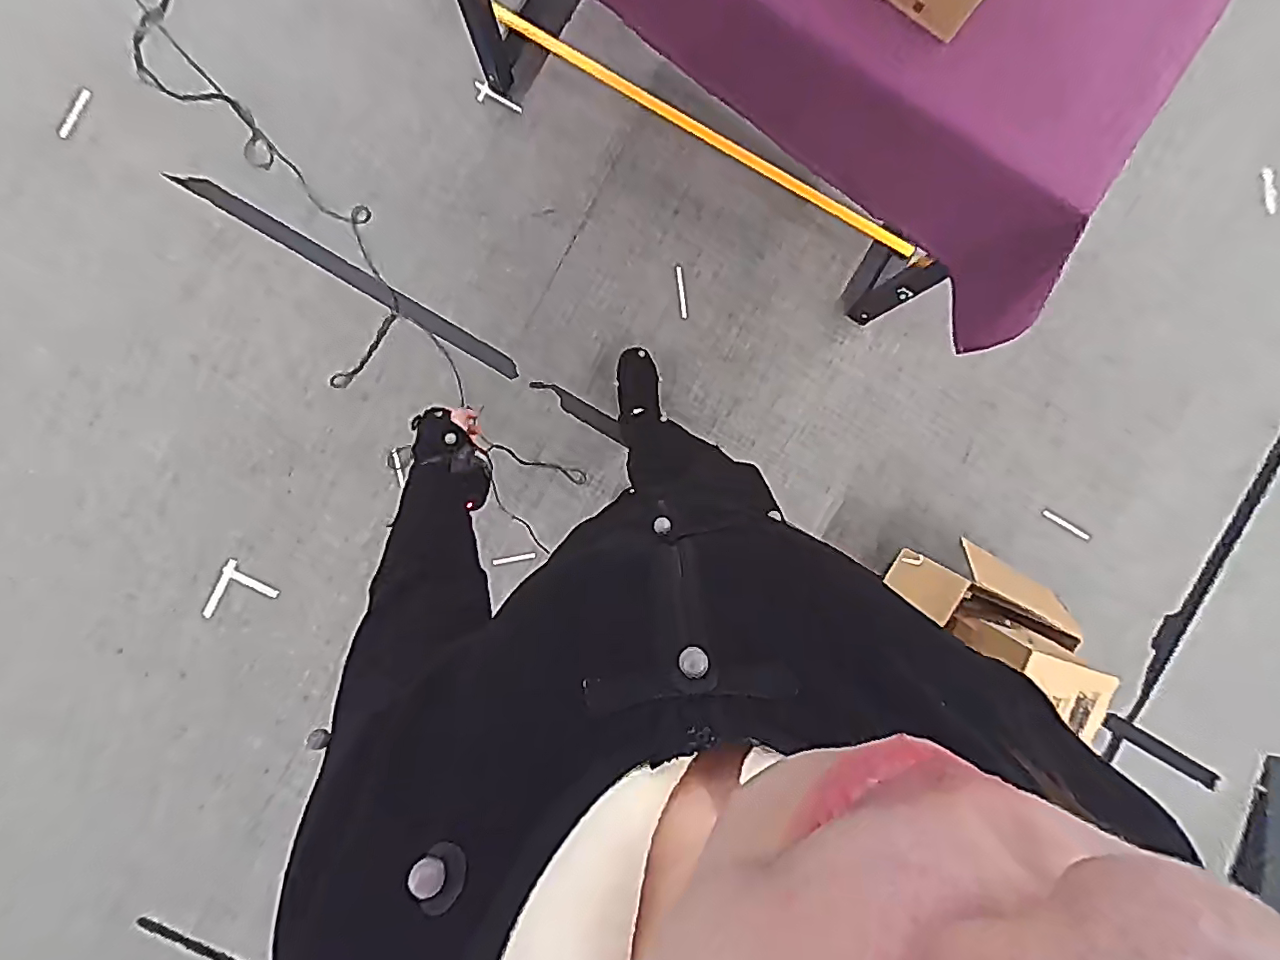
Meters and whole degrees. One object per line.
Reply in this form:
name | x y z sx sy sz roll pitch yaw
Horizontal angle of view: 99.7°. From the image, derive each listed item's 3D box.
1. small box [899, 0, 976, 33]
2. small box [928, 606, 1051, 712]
small box | 0.399 -0.713 0.656 0.168 0.176 0.179 33 90 -3
small box | 0.810 0.412 1.271 0.168 0.176 0.179 8 96 0
